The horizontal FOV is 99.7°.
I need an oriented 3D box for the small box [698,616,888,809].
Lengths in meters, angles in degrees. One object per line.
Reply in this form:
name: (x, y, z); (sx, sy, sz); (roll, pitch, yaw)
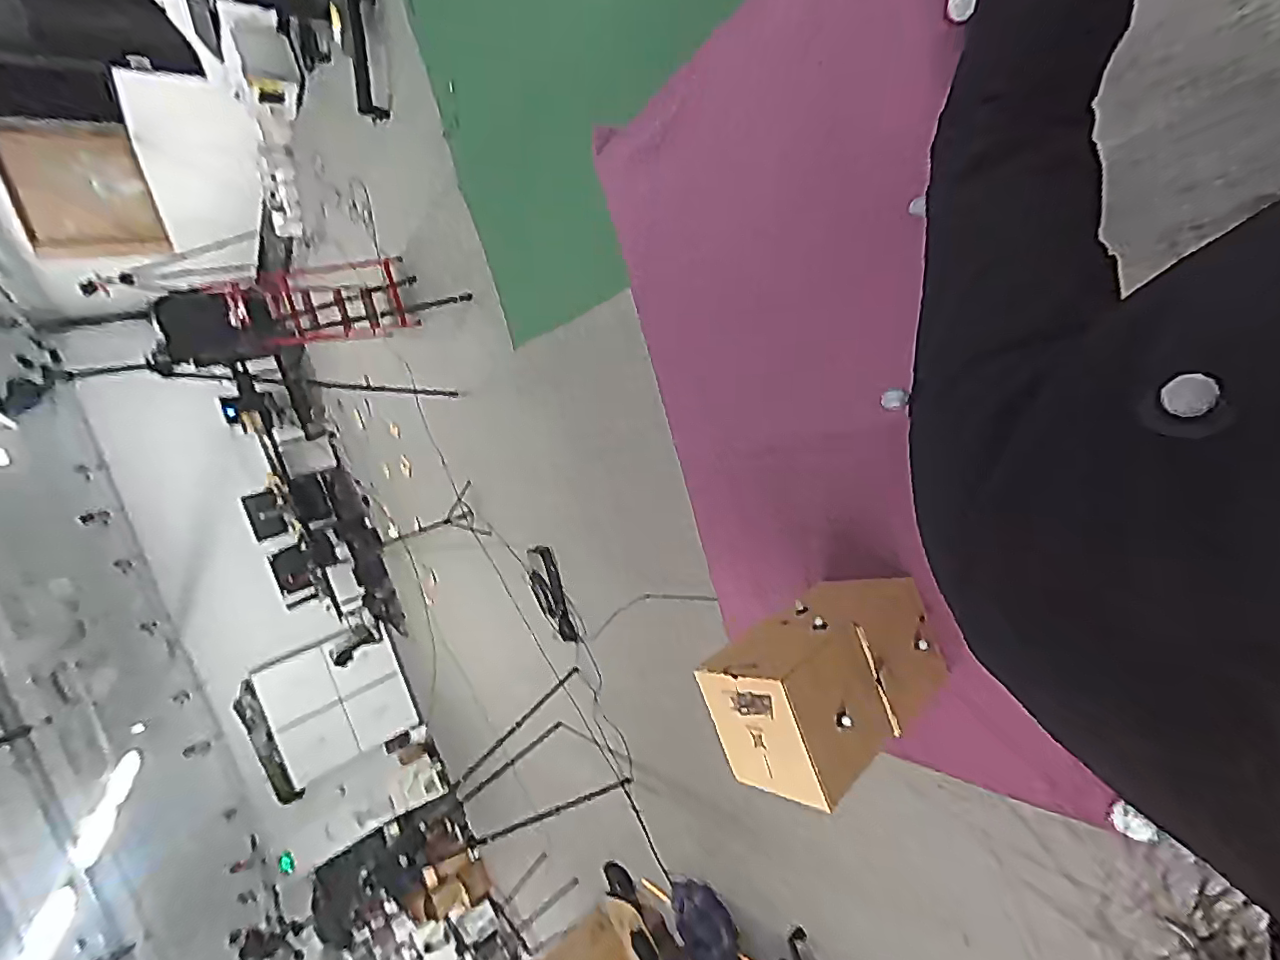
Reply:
small box: (0.216, 0.307, 0.762); (0.168, 0.176, 0.179); (-14, 95, 55)

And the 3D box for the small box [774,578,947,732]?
small box: (0.346, 0.264, 0.858); (0.179, 0.176, 0.168); (-18, 93, 54)
